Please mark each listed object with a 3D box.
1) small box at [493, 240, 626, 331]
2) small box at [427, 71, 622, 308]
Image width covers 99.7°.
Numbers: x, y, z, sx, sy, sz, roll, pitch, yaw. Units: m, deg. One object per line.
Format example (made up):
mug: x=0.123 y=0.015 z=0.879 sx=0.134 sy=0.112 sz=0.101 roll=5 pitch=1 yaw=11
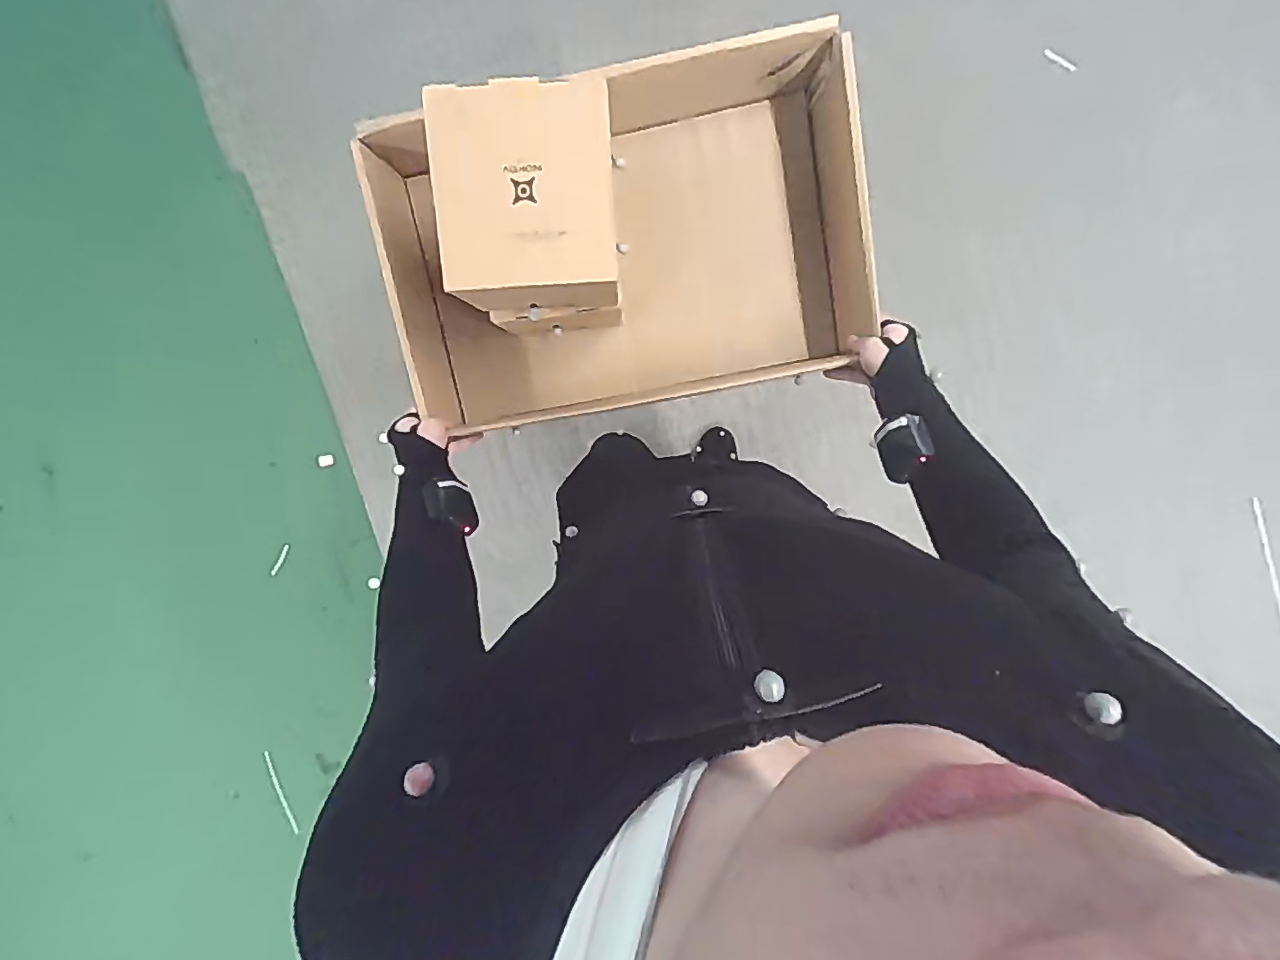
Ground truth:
small box: x=-0.111 y=-0.306 z=0.729 sx=0.168 sy=0.176 sz=0.179 roll=-7 pitch=101 yaw=-2
small box: x=-0.106 y=-0.285 z=0.566 sx=0.168 sy=0.176 sz=0.179 roll=-3 pitch=100 yaw=-1
